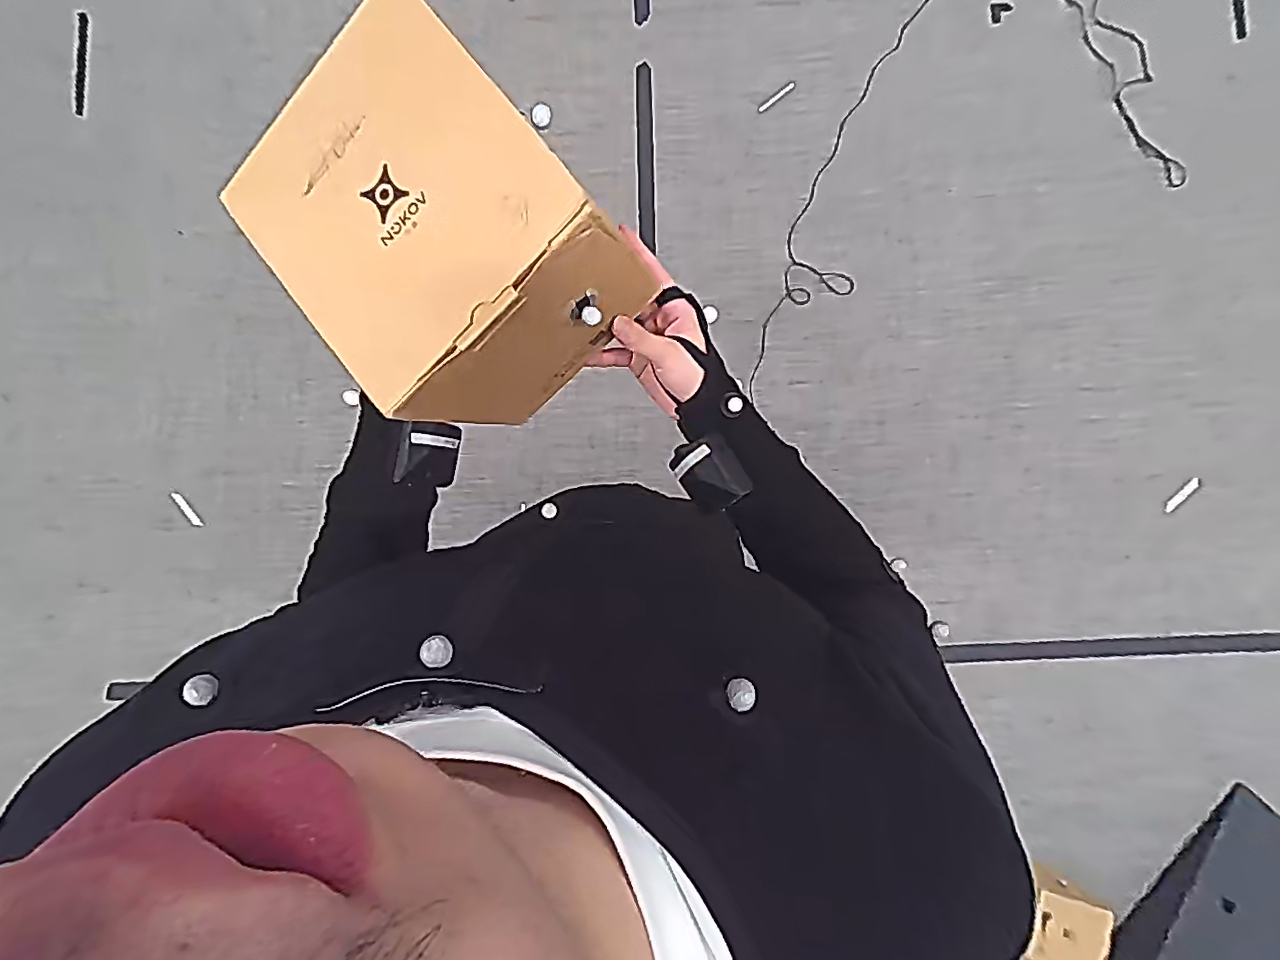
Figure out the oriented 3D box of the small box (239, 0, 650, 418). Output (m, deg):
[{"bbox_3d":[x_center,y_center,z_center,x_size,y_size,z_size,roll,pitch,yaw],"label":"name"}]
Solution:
[{"bbox_3d":[-0.116,-0.160,0.384,0.168,0.176,0.179,-41,83,12],"label":"small box"}]
